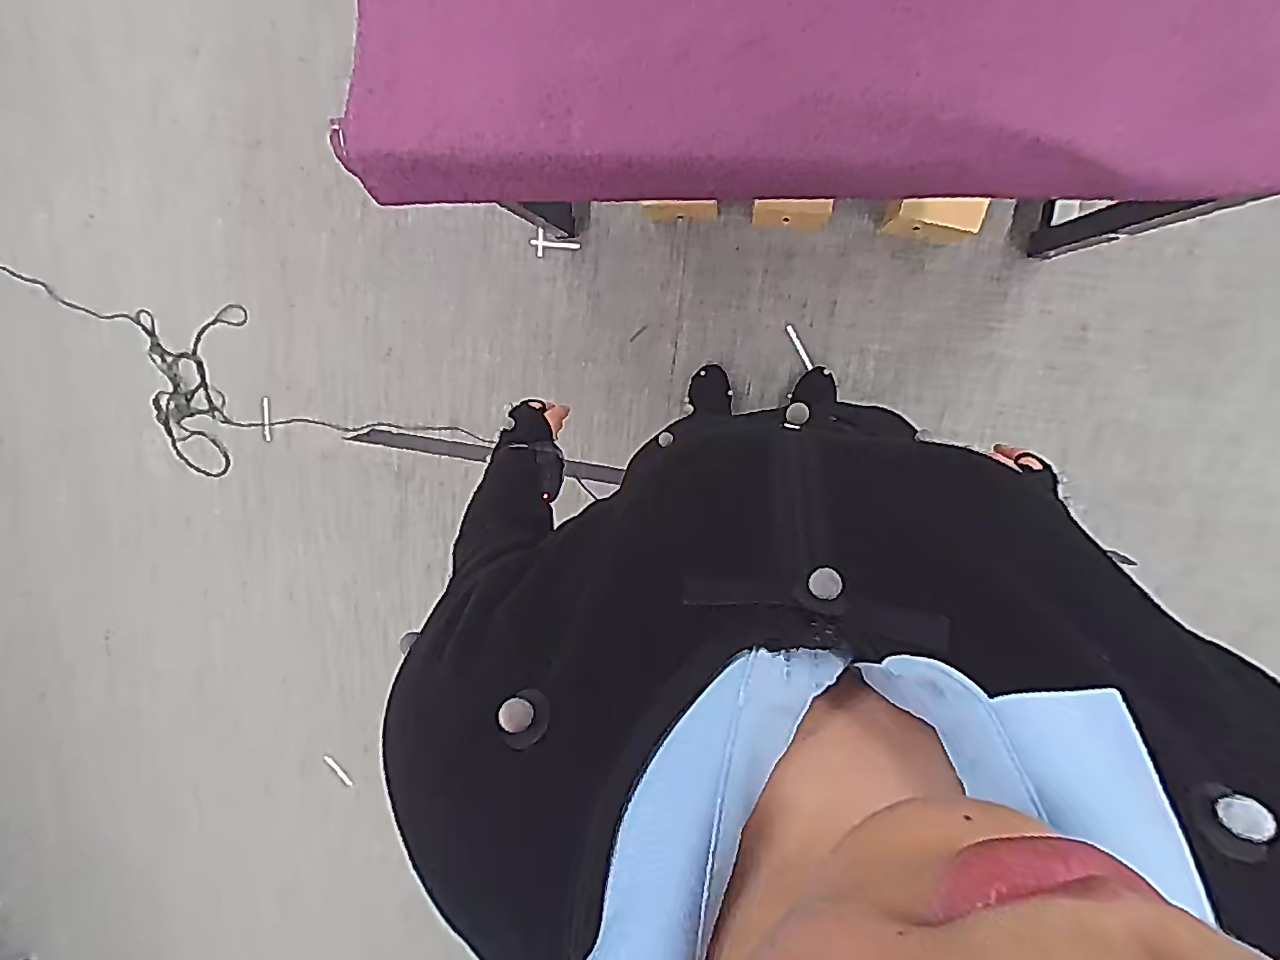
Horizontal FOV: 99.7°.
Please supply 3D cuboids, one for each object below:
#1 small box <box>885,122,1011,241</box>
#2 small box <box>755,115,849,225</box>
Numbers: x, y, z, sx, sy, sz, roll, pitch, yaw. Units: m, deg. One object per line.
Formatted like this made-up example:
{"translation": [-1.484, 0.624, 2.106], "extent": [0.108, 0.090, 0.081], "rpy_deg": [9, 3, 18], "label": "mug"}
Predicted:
{"translation": [0.657, -0.640, 1.181], "extent": [0.168, 0.176, 0.179], "rpy_deg": [16, 106, 6], "label": "small box"}
{"translation": [0.355, -0.690, 1.221], "extent": [0.168, 0.176, 0.179], "rpy_deg": [9, 105, 7], "label": "small box"}
